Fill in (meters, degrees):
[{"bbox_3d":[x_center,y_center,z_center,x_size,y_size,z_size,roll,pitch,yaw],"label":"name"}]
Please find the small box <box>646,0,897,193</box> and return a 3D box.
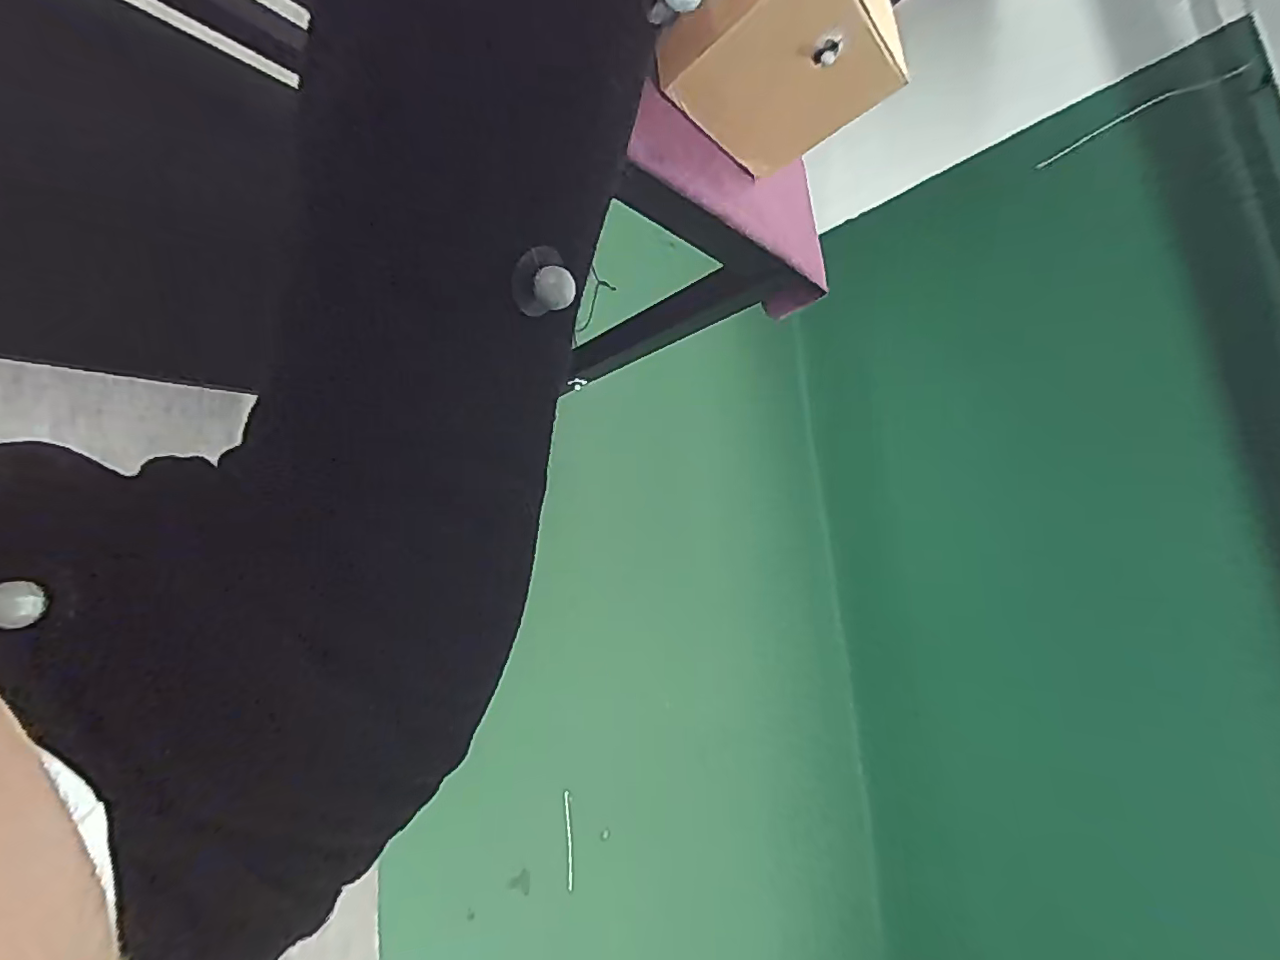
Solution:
[{"bbox_3d":[0.117,-0.417,0.514,0.179,0.176,0.168,11,70,-47],"label":"small box"}]
